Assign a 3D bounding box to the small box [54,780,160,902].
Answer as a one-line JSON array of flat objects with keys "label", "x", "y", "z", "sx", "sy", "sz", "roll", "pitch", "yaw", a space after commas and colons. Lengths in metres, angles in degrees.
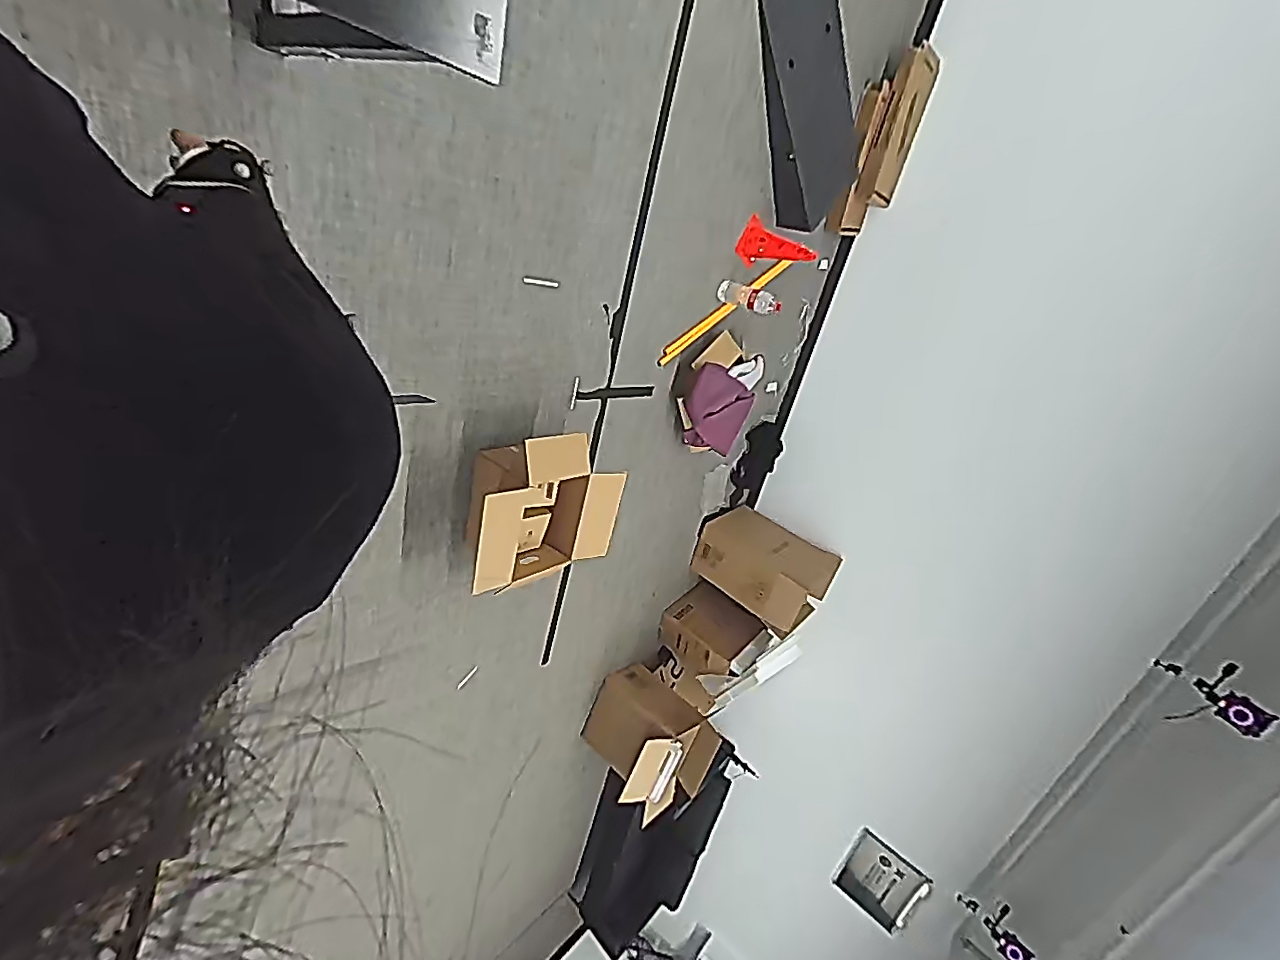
[{"label": "small box", "x": -1.423, "y": 0.952, "z": 1.447, "sx": 0.179, "sy": 0.176, "sz": 0.168, "roll": -9, "pitch": 121, "yaw": -50}]
